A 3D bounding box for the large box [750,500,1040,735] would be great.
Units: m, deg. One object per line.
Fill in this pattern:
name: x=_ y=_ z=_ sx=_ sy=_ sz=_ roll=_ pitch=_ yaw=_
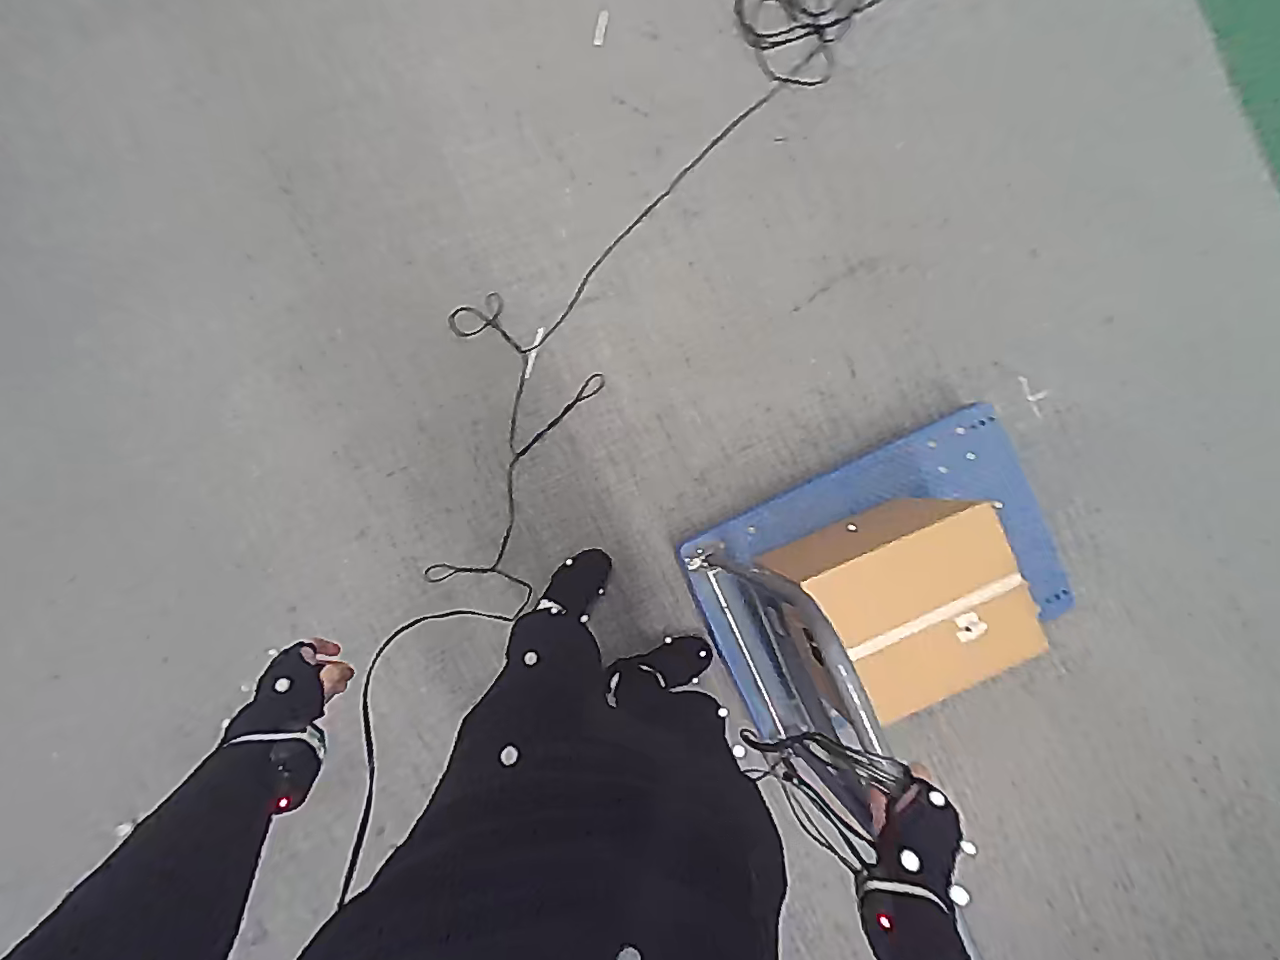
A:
large box: x=0.509 y=0.257 z=1.152 sx=0.408 sy=0.320 sz=0.320 roll=-22 pitch=92 yaw=-6
